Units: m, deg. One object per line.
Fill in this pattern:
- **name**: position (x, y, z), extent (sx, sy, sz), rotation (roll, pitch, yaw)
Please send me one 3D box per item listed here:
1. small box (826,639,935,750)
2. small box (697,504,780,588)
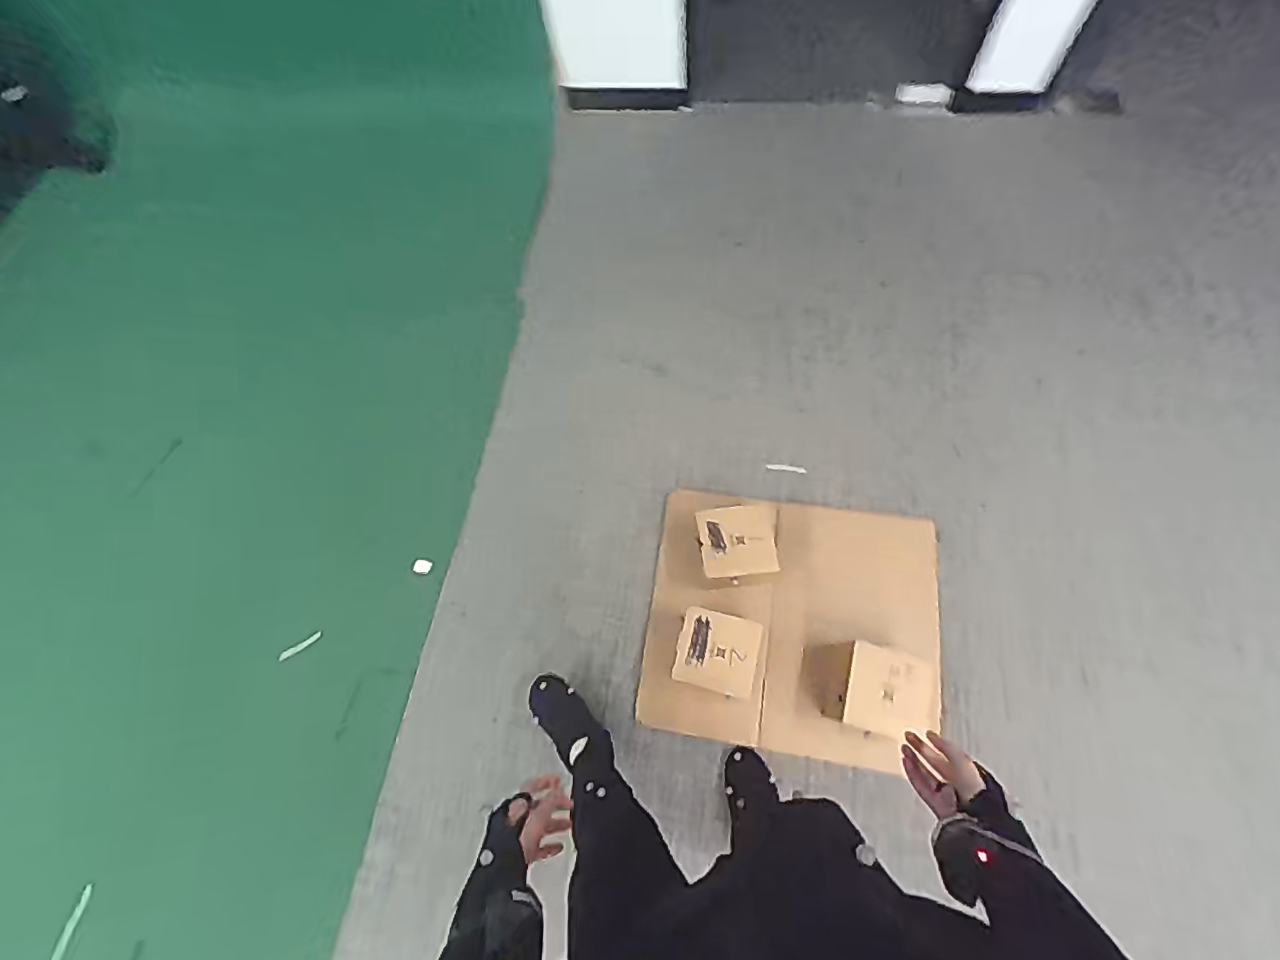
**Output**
- **small box**: position (0.518, 0.467, 1.187), extent (0.168, 0.176, 0.179), rotation (15, 70, 10)
- **small box**: position (0.234, 0.169, 1.336), extent (0.179, 0.176, 0.168), rotation (-5, 68, 2)
